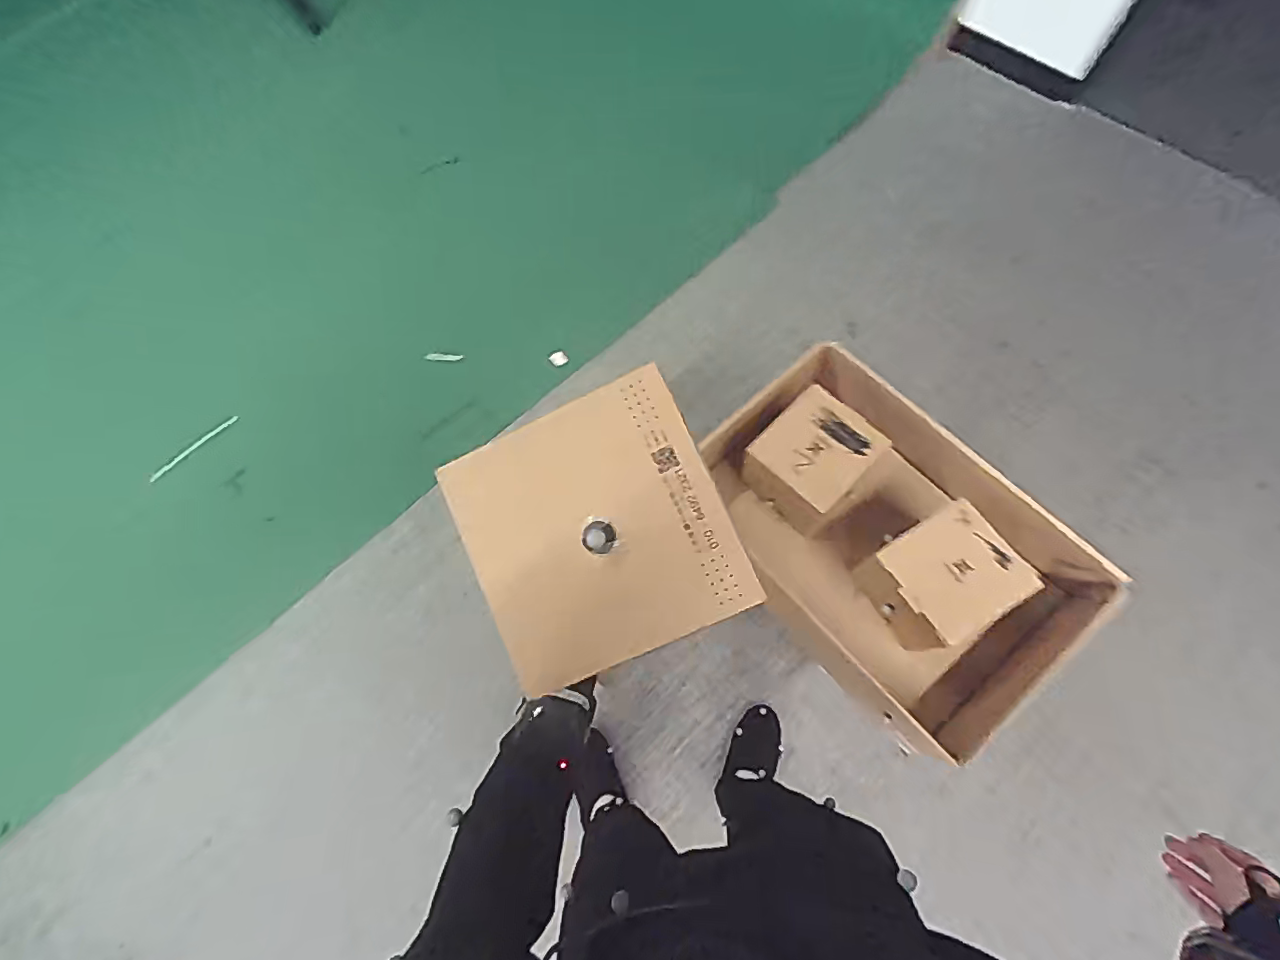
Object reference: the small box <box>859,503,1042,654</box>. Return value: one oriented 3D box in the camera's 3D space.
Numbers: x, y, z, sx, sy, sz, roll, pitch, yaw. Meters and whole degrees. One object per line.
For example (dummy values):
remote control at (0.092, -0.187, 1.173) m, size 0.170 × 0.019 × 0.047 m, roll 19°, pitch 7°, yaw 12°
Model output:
small box at (0.483, 0.169, 0.881) m, size 0.179 × 0.176 × 0.168 m, roll -30°, pitch 70°, yaw -5°
